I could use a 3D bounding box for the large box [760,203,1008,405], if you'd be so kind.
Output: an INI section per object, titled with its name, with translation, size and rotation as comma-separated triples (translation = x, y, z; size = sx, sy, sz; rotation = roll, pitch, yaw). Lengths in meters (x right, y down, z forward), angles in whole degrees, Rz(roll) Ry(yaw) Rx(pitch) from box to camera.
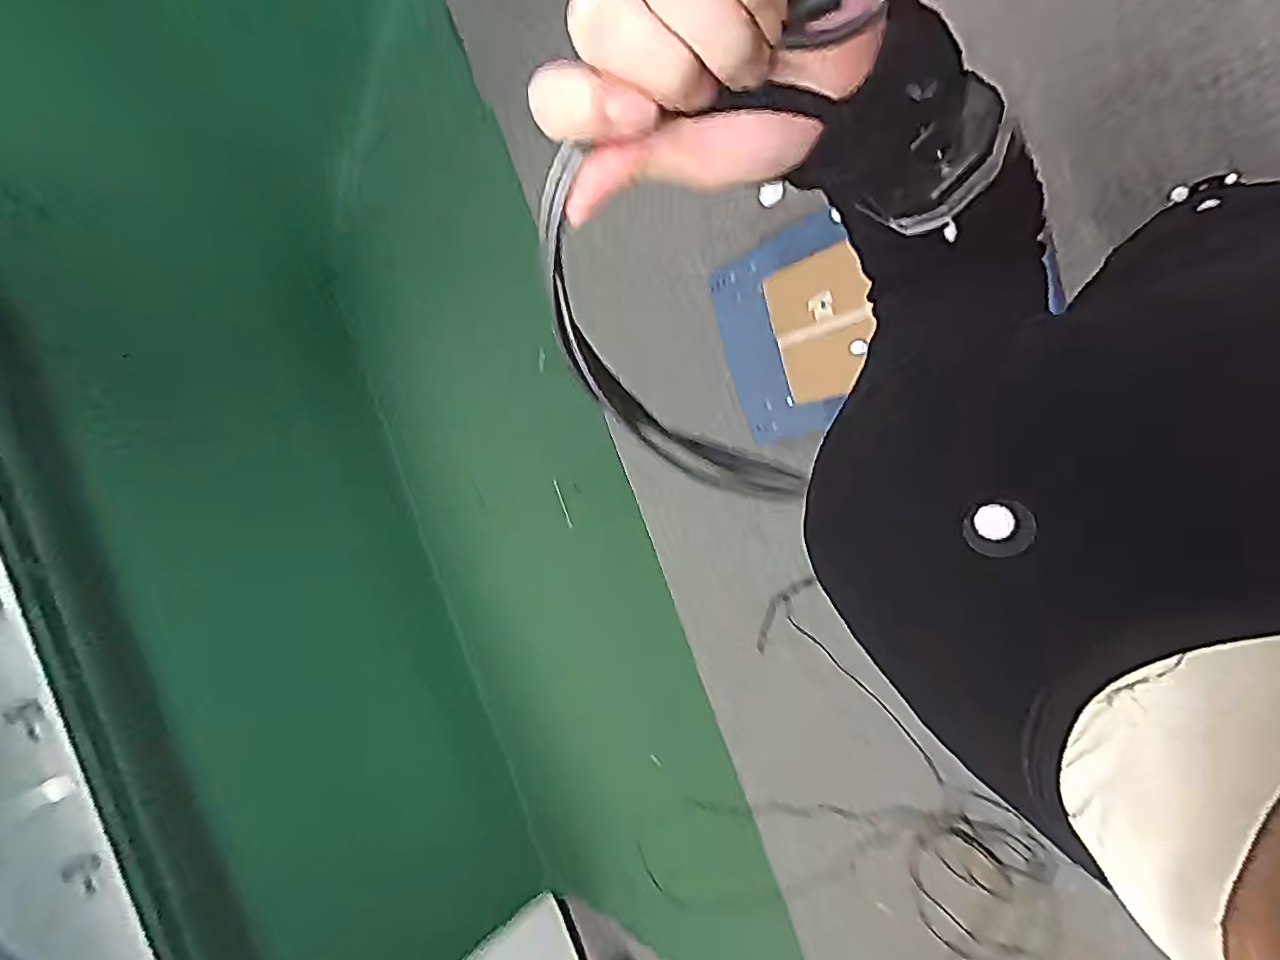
[large box]
translation = 0.564, -0.396, 1.265
size = 0.408, 0.320, 0.320
rotation = -9, 99, 49
